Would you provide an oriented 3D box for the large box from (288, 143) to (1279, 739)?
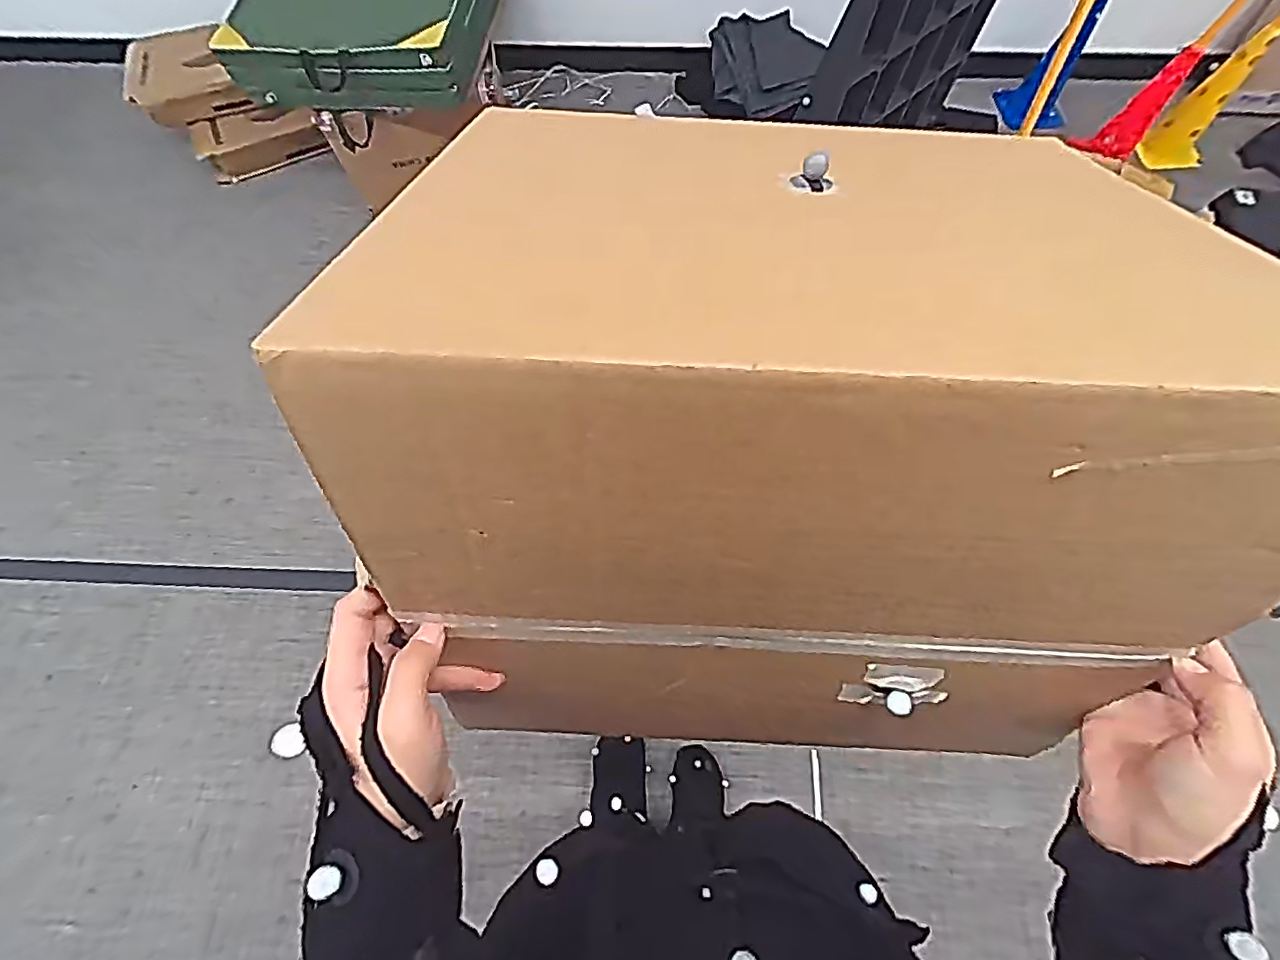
[{"bbox_3d":[0.076,-0.028,0.389,0.408,0.320,0.320,1,47,0],"label":"large box"}]
